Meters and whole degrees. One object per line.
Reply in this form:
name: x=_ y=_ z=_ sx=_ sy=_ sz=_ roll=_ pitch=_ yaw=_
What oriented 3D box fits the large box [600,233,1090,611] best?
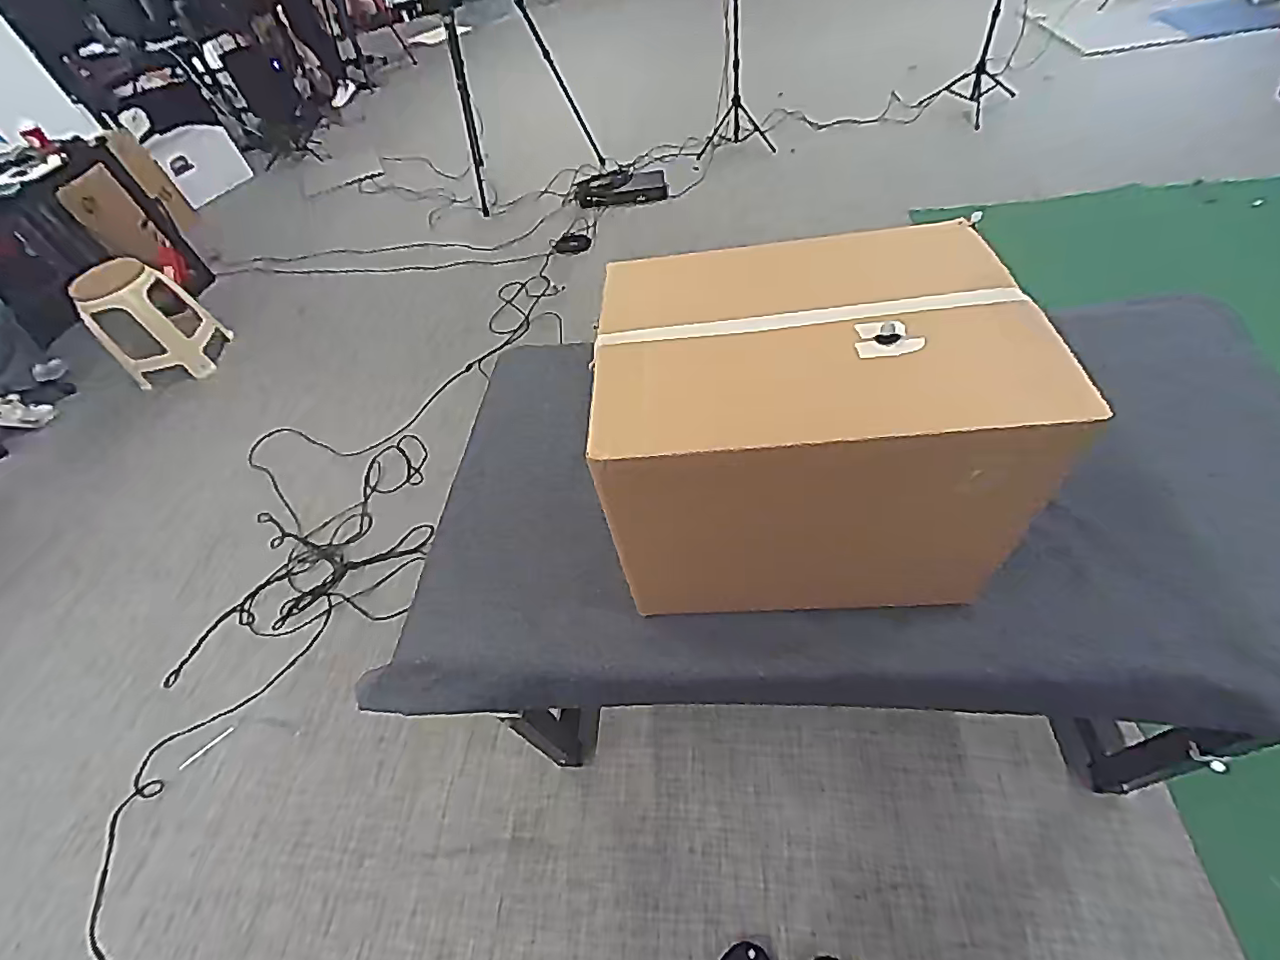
large box: x=0.178 y=-0.055 z=0.651 sx=0.408 sy=0.320 sz=0.320 roll=-4 pitch=52 yaw=6
